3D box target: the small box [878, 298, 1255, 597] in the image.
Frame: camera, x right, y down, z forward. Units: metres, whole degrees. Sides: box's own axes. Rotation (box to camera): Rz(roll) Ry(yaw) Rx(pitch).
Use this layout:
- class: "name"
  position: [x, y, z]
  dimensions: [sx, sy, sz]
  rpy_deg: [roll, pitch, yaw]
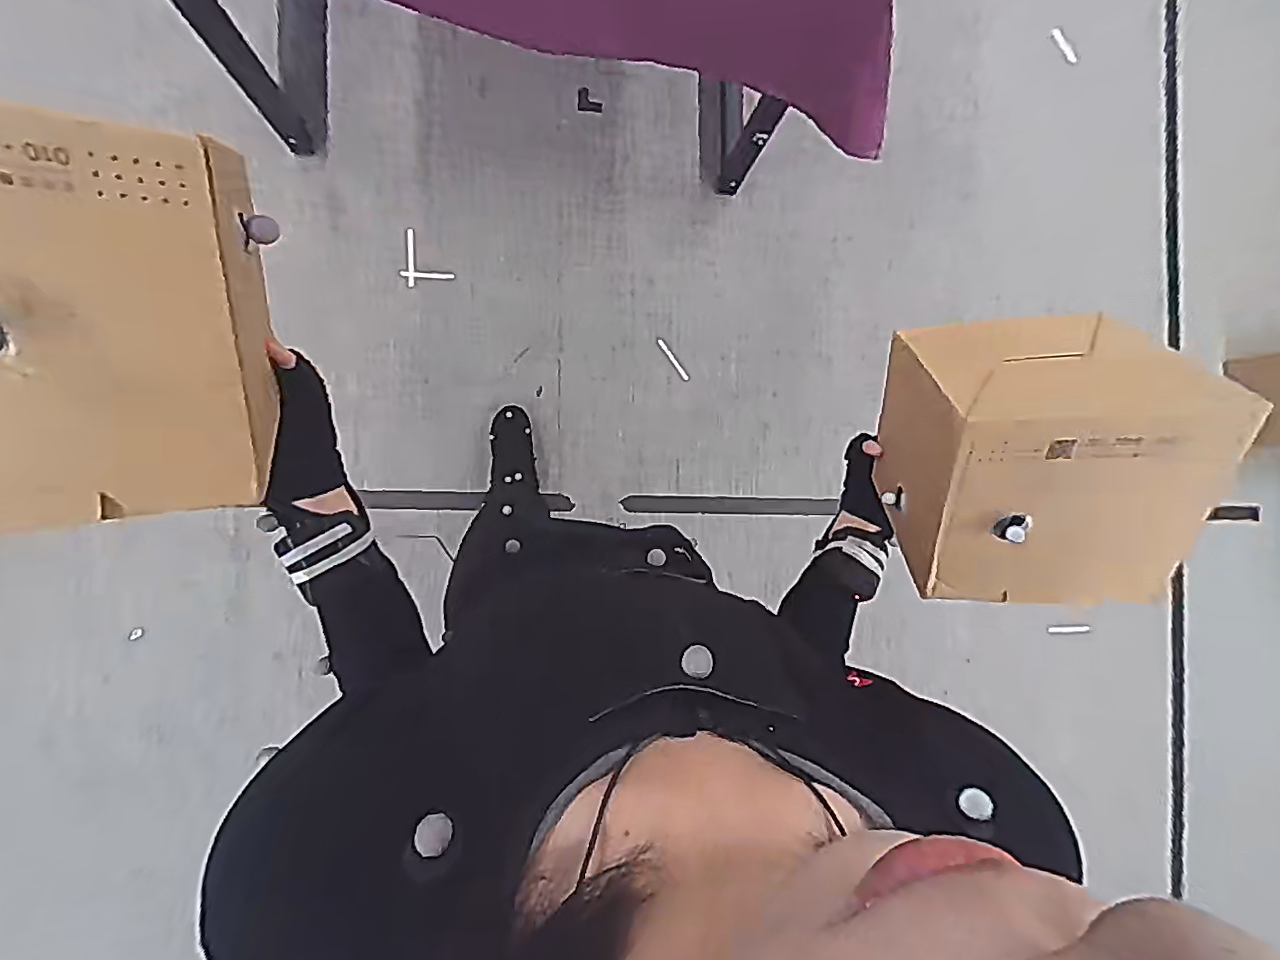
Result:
- class: "small box"
  position: [0.301, -0.029, 0.423]
  dimensions: [0.168, 0.179, 0.176]
  rpy_deg: [-1, 125, 9]

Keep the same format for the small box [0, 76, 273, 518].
- class: "small box"
  position: [-0.290, -0.093, 0.260]
  dimensions: [0.168, 0.179, 0.176]
  rpy_deg: [-6, 116, -29]
